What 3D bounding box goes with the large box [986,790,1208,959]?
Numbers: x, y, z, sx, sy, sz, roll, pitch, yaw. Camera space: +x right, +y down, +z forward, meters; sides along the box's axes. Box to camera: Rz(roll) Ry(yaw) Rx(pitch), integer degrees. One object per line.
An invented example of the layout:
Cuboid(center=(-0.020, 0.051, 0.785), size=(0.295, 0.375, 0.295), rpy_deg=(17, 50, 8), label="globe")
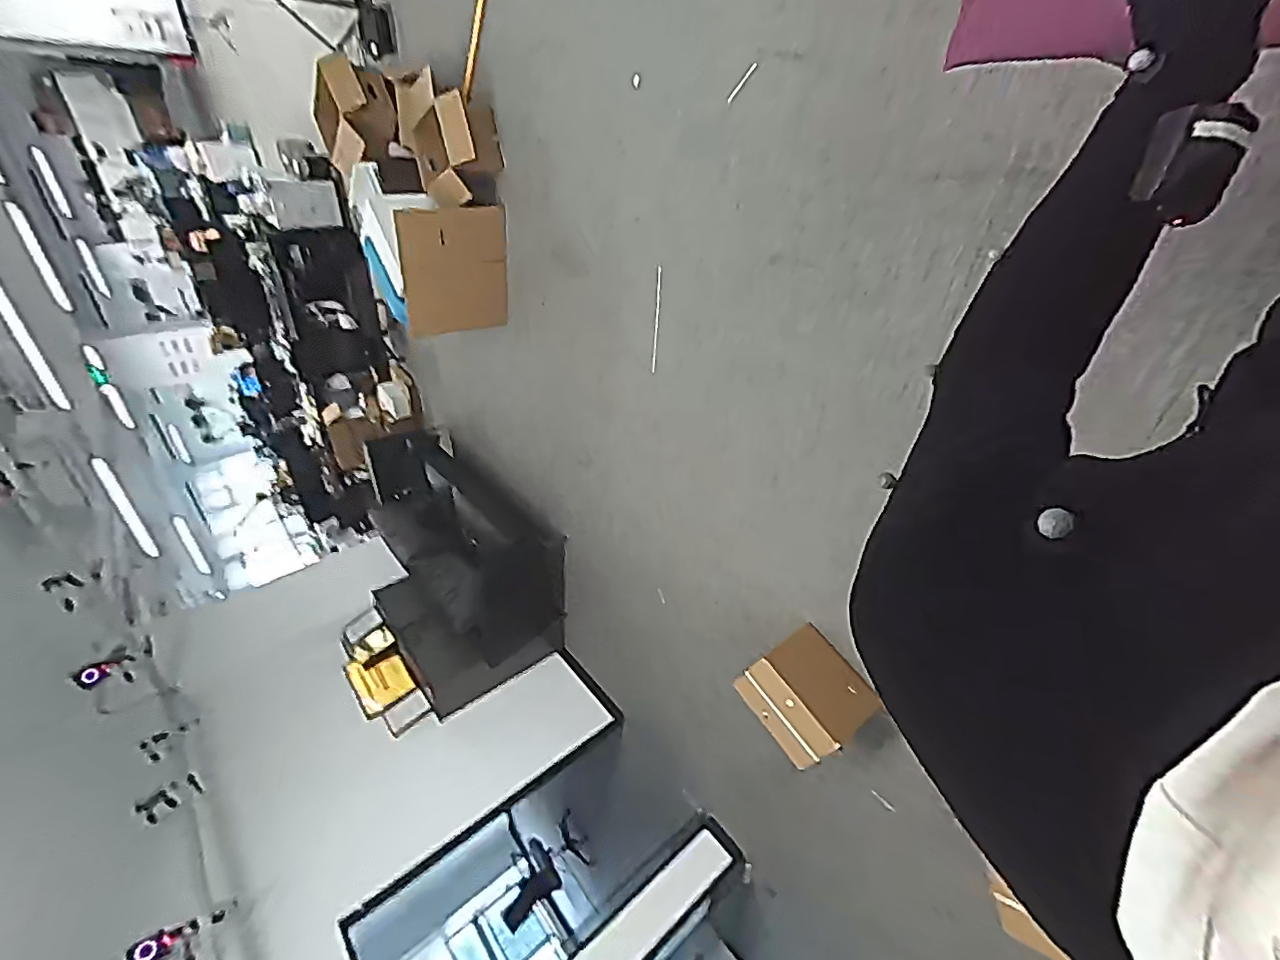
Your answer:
Cuboid(center=(1.295, 1.178, 1.545), size=(0.408, 0.320, 0.320), rpy_deg=(-8, 103, 54), label="large box")
